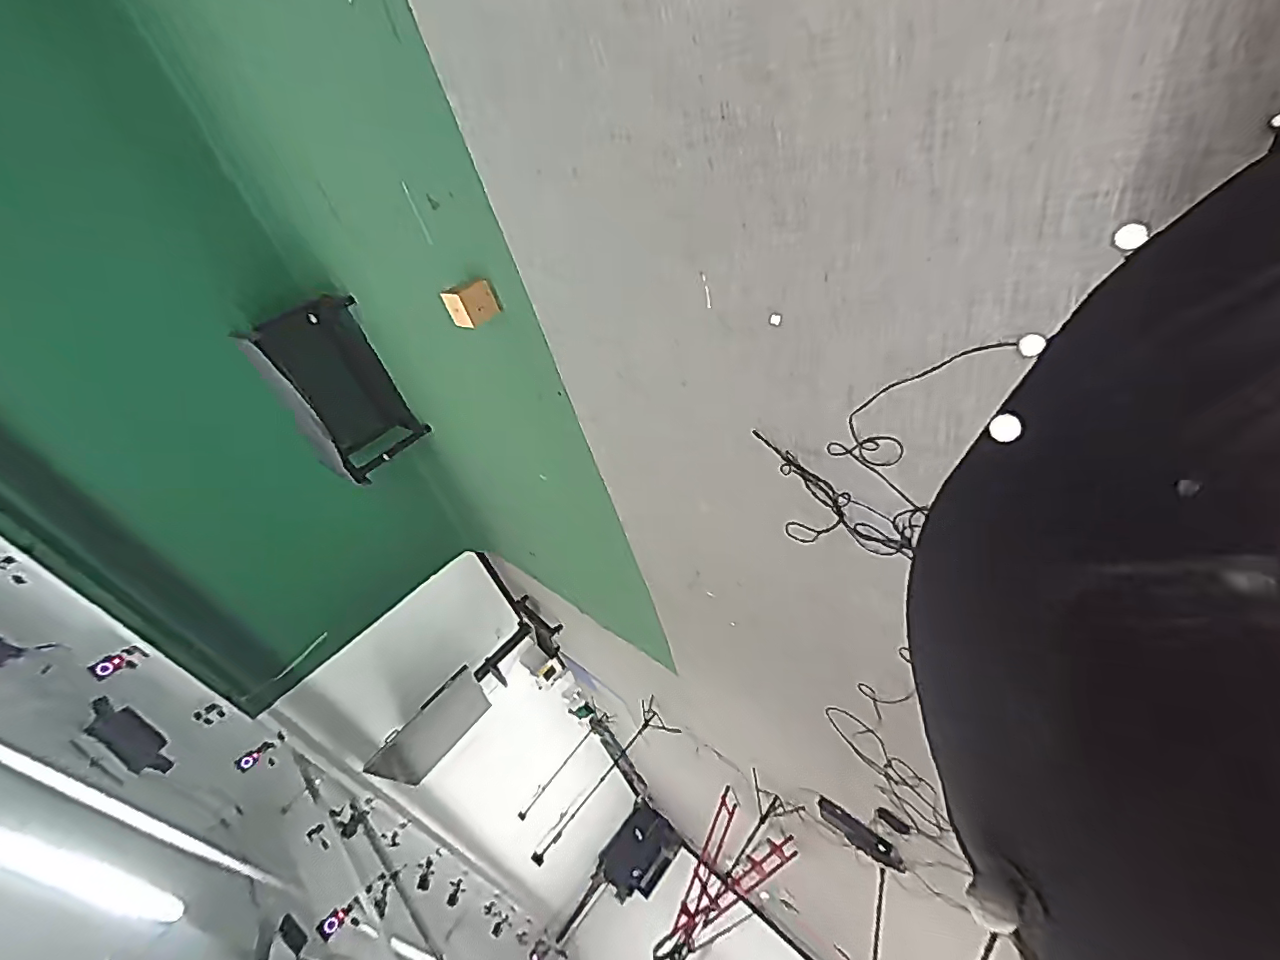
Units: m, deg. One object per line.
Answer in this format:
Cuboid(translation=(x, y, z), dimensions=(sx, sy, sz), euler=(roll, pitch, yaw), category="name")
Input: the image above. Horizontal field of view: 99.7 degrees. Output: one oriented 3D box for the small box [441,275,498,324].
Cuboid(translation=(-0.794, -0.852, 2.544), dimensions=(0.179, 0.176, 0.168), euler=(20, 143, 42), category="small box")
